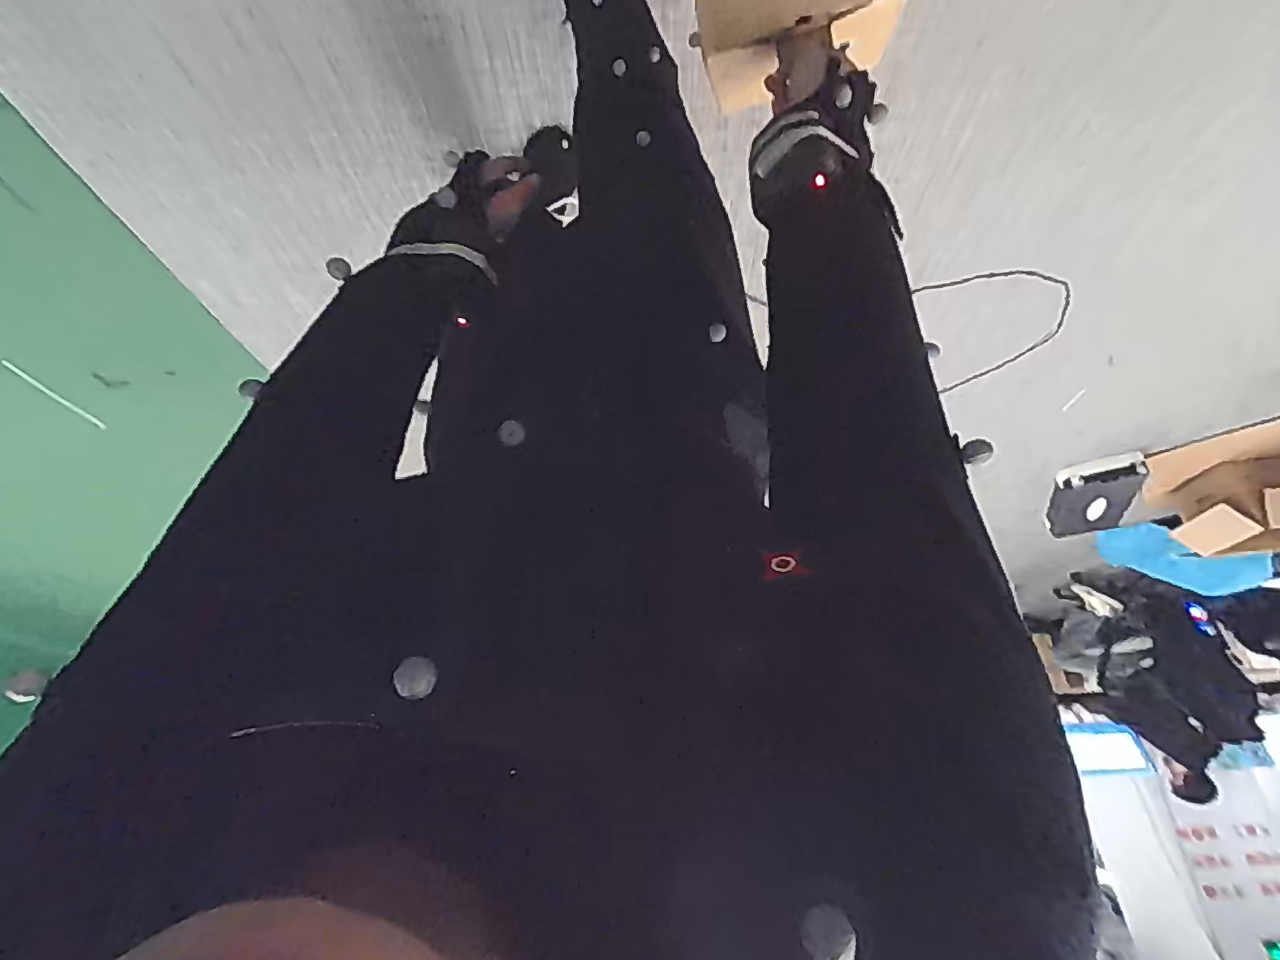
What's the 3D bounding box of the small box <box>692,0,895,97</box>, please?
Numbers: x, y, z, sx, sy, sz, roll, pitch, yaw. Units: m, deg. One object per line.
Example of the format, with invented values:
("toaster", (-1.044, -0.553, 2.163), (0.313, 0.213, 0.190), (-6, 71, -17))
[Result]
("small box", (0.130, -0.471, 0.474), (0.168, 0.176, 0.179), (-7, 106, 16))
